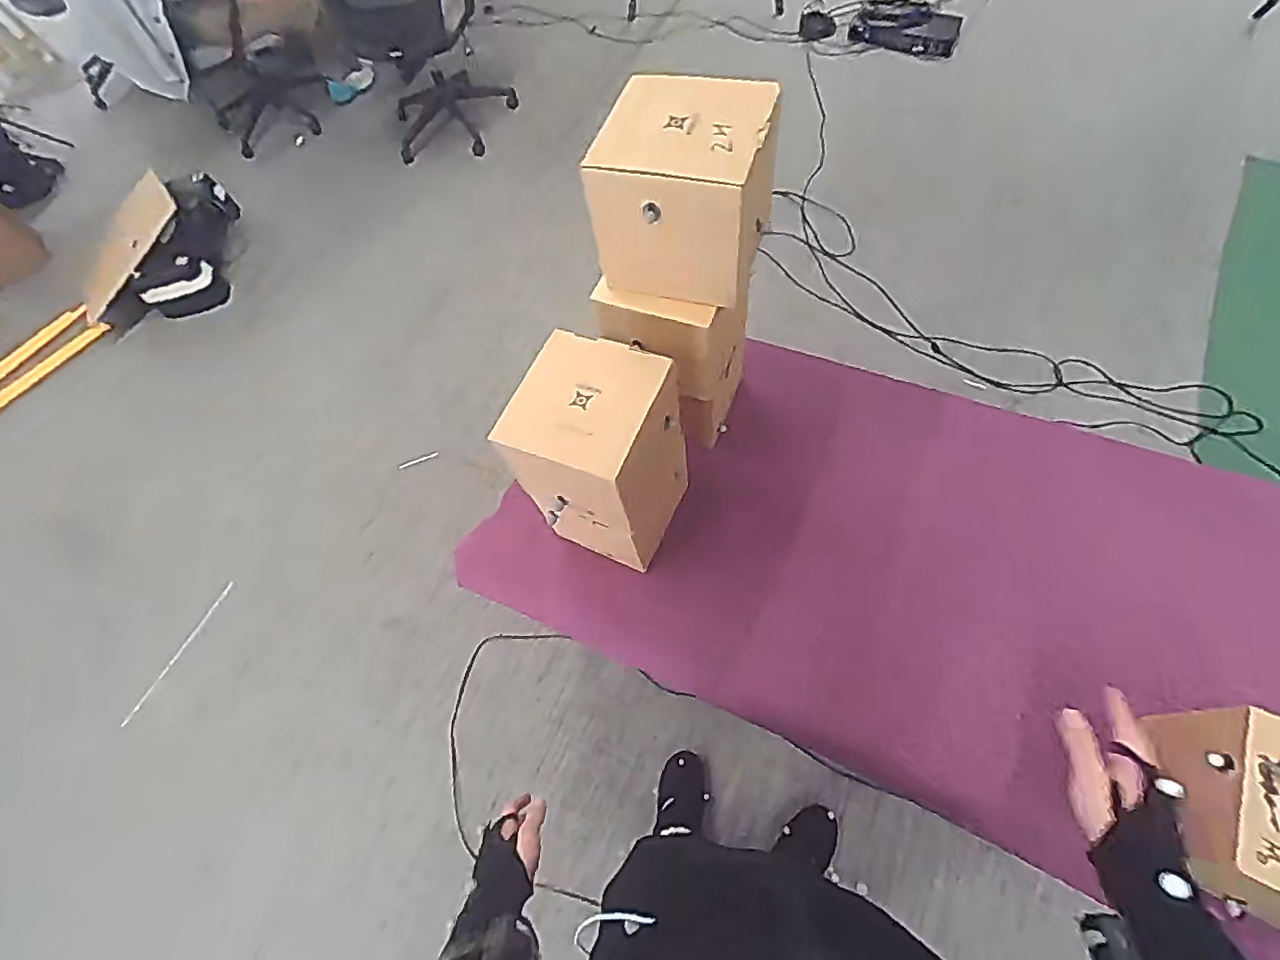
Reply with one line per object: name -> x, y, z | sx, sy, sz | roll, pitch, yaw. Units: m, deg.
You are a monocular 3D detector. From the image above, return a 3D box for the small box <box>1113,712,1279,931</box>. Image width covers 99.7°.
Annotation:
small box -> 0.675, 0.373, 0.582 | 0.179, 0.176, 0.168 | 25, 68, 18

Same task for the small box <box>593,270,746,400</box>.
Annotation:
small box -> 0.054, -0.243, 0.783 | 0.168, 0.176, 0.179 | 19, 68, 15

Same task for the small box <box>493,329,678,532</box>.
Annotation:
small box -> -0.056, -0.060, 0.706 | 0.168, 0.176, 0.179 | 19, 68, 16

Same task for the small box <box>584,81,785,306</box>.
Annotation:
small box -> 0.057, -0.333, 0.642 | 0.179, 0.176, 0.168 | 16, 67, 14
